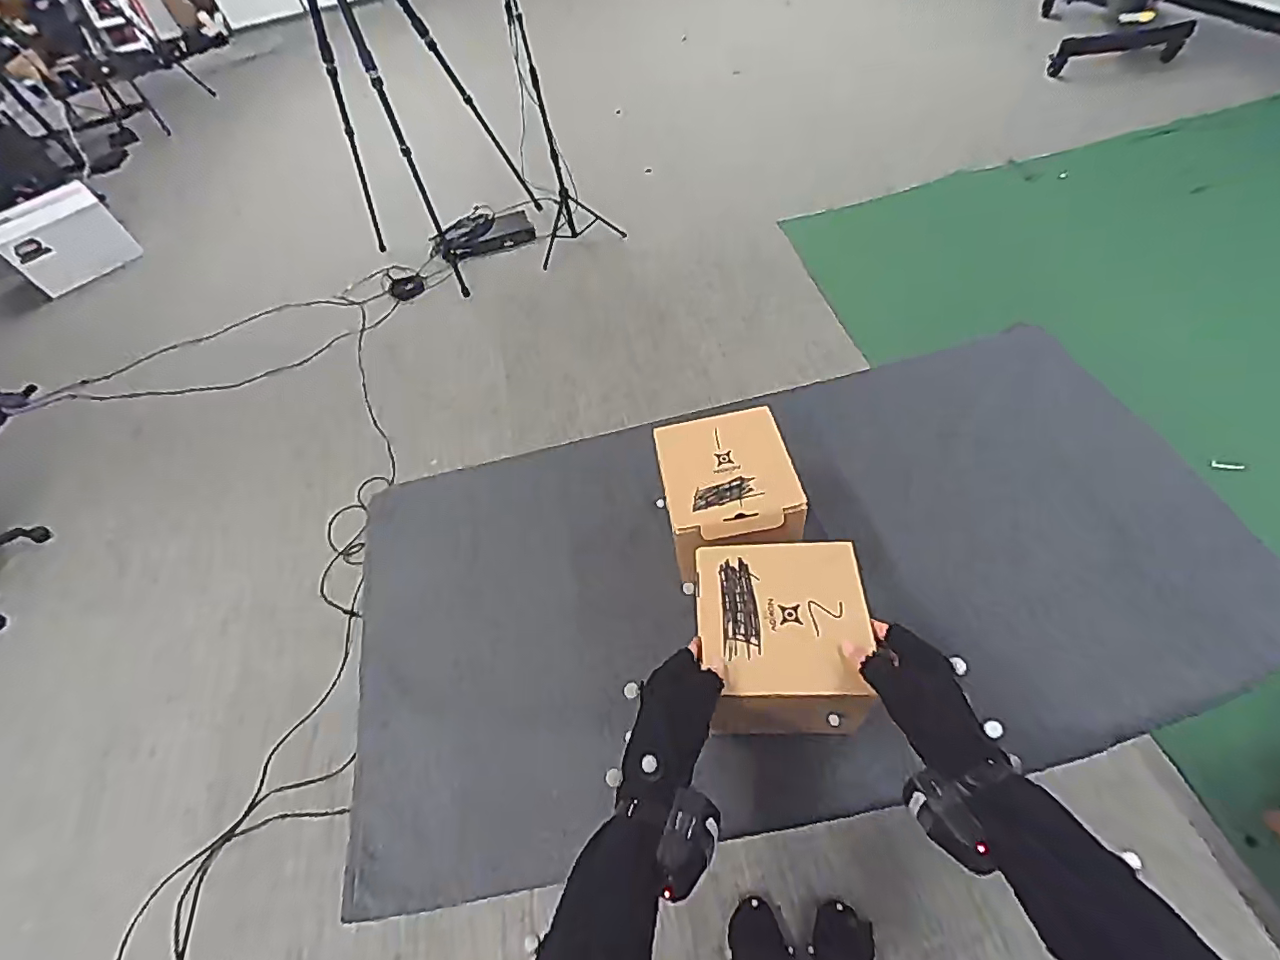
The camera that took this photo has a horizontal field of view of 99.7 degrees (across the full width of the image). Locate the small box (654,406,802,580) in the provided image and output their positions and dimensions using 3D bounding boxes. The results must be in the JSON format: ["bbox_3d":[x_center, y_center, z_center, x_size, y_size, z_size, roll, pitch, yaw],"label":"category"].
[{"bbox_3d":[0.120,0.027,0.768,0.168,0.176,0.179,-11,52,2],"label":"small box"}]
